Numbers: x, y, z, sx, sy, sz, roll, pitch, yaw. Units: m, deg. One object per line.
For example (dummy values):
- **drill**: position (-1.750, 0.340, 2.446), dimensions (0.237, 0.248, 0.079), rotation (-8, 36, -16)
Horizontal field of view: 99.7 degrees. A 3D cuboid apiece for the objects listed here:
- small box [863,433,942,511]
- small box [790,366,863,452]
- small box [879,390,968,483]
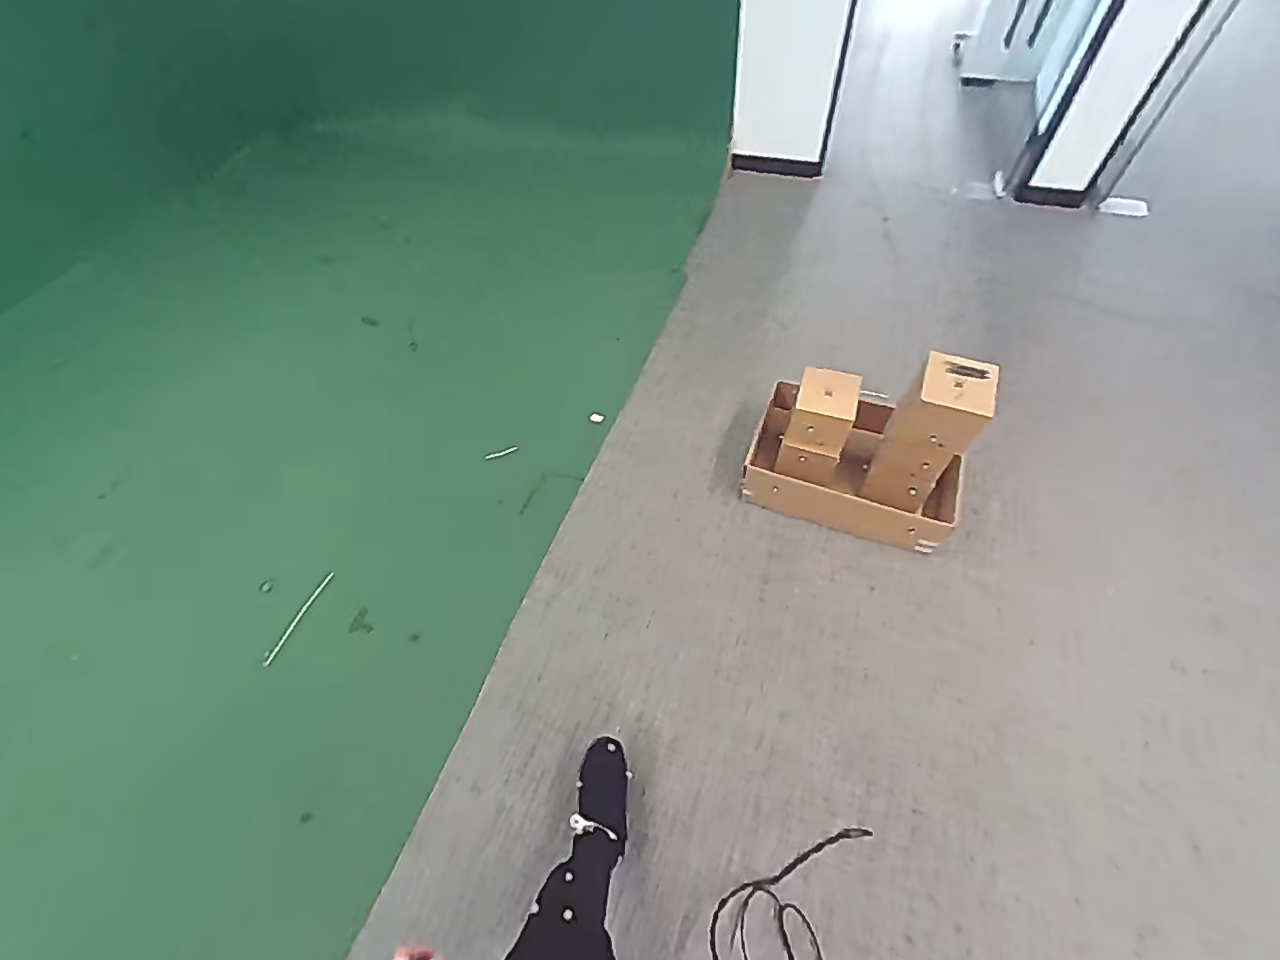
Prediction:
- **small box**: position (0.814, -0.027, 1.669), dimensions (0.179, 0.176, 0.168), rotation (19, 60, 18)
- **small box**: position (0.553, -0.208, 1.617), dimensions (0.168, 0.176, 0.179), rotation (14, 59, 13)
- **small box**: position (0.799, -0.119, 1.536), dimensions (0.168, 0.176, 0.179), rotation (20, 61, 16)
